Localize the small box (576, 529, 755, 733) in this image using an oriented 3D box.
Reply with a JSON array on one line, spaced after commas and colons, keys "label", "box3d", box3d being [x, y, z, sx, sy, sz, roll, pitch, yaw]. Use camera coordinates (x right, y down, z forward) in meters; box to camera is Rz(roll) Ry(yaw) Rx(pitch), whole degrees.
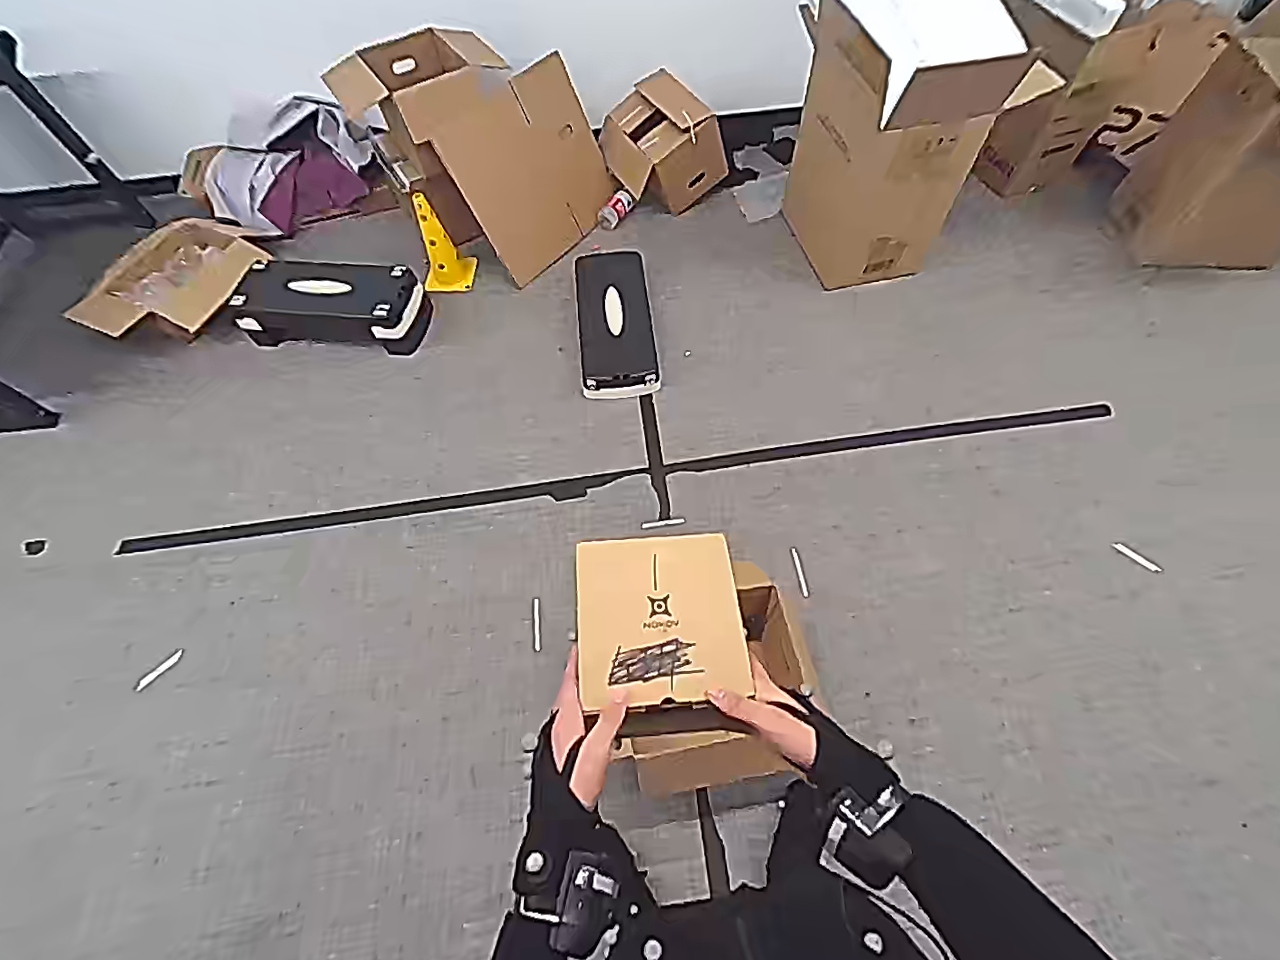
[{"label": "small box", "box3d": [0.019, 0.174, 0.599, 0.168, 0.176, 0.179, -4, 56, -4]}]
